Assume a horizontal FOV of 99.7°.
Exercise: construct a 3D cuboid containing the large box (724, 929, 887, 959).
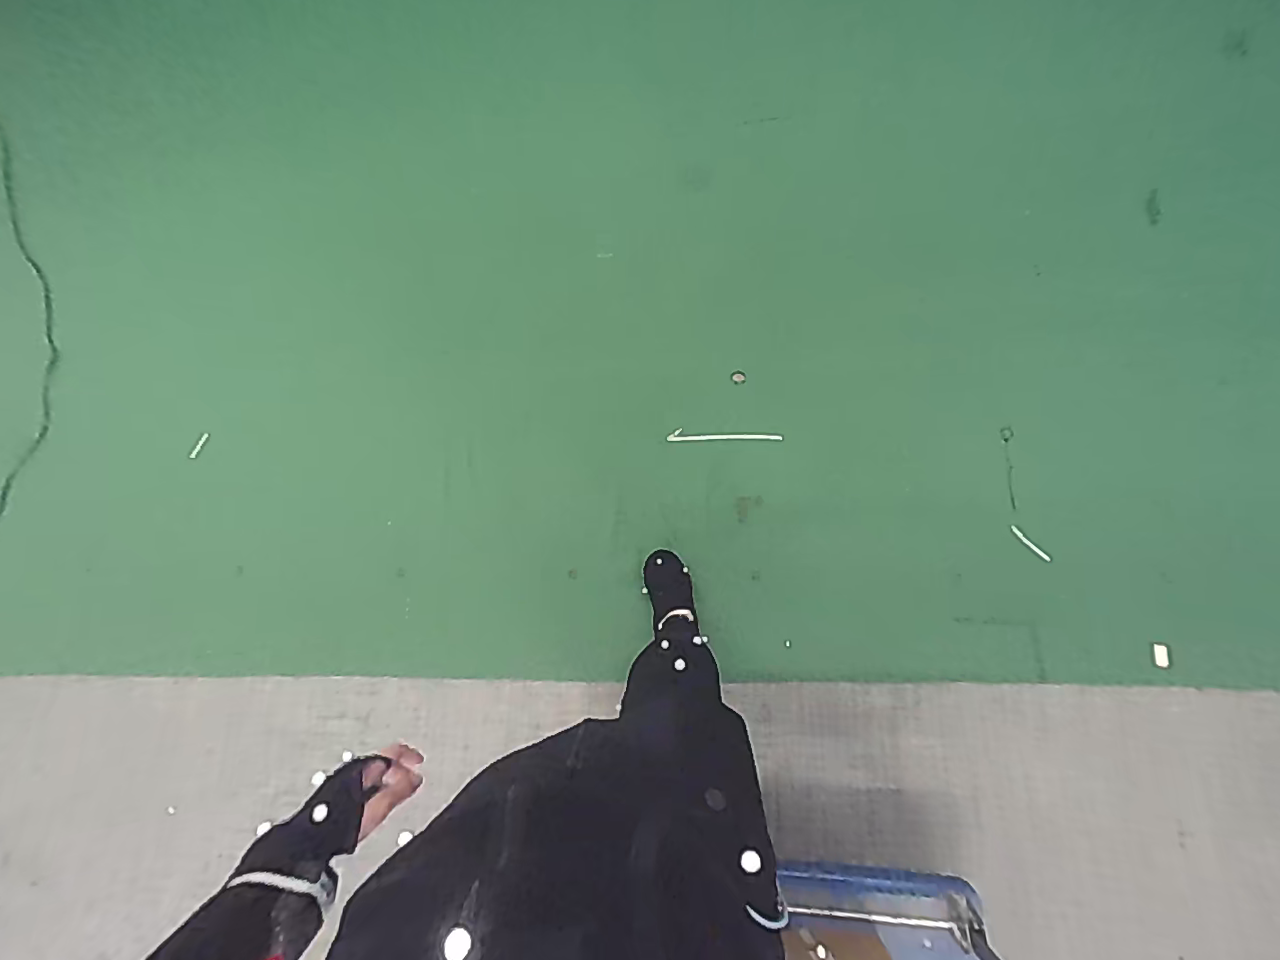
[{"bbox_3d":[0.313,1.083,0.919,0.320,0.320,0.408,0,79,6],"label":"large box"}]
